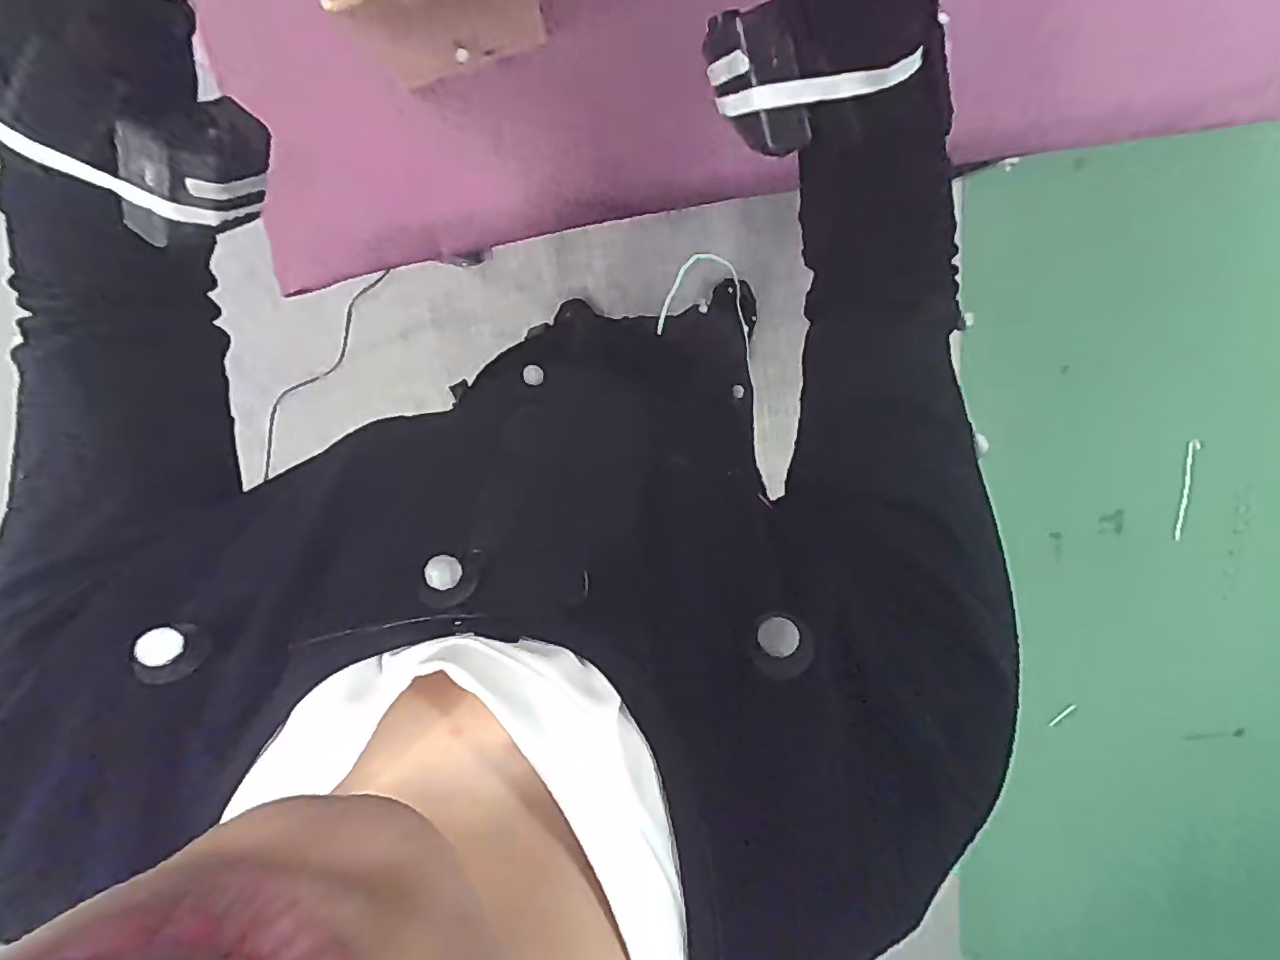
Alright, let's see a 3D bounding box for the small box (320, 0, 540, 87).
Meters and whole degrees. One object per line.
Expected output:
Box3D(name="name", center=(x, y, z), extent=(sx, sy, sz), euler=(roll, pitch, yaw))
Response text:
Box3D(name="small box", center=(-0.202, -0.500, 0.482), extent=(0.168, 0.176, 0.179), euler=(-16, 108, 4))
